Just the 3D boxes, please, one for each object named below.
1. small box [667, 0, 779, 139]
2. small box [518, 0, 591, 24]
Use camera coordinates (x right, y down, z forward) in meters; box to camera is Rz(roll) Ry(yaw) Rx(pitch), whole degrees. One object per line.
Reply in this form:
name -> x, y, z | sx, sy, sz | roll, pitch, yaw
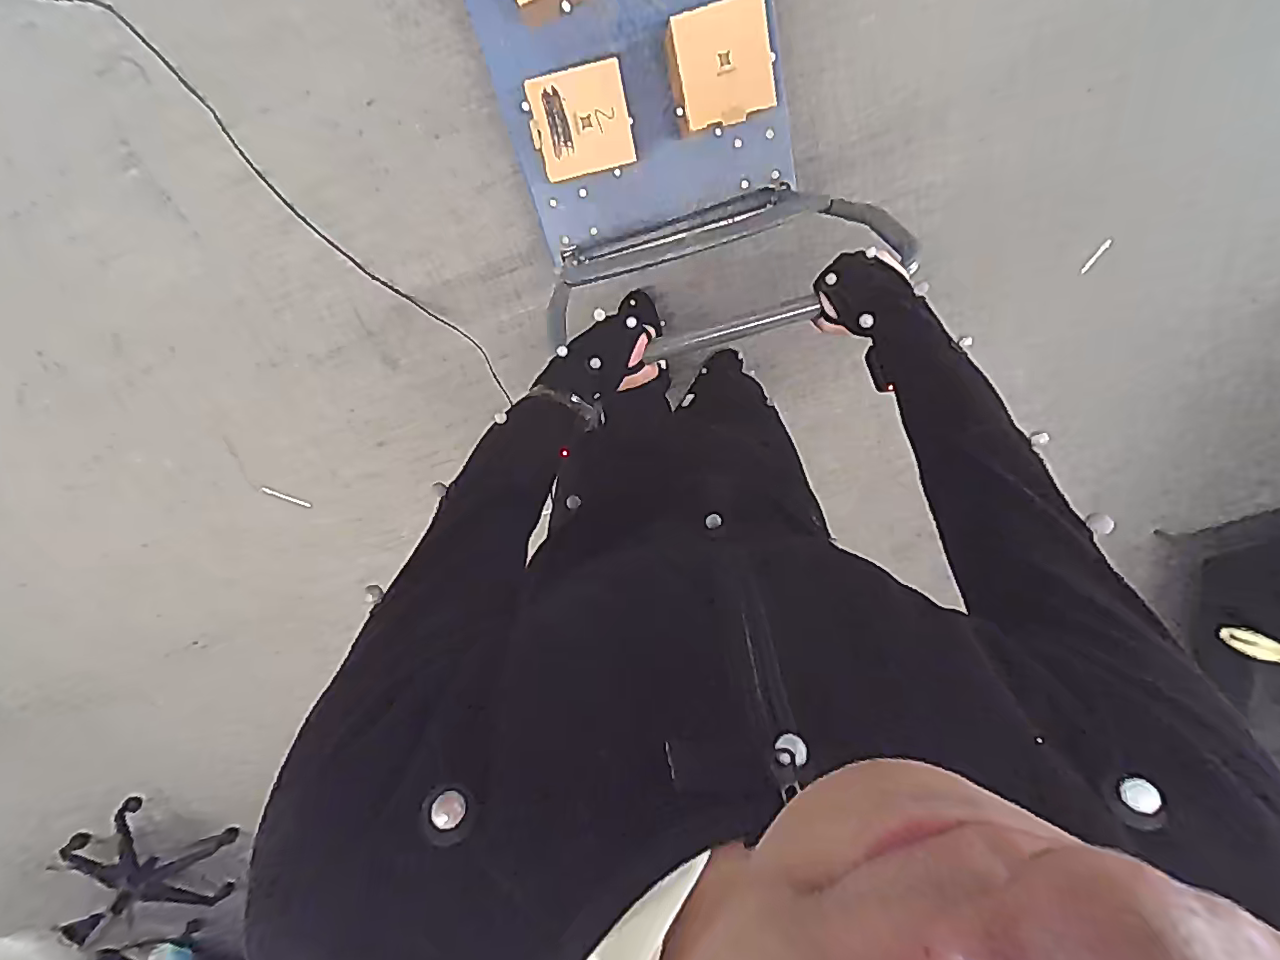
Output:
small box -> 0.153, -0.783, 1.038 | 0.168, 0.176, 0.179 | -15, 118, 5
small box -> -0.163, -0.939, 0.941 | 0.168, 0.176, 0.179 | -22, 116, 8
